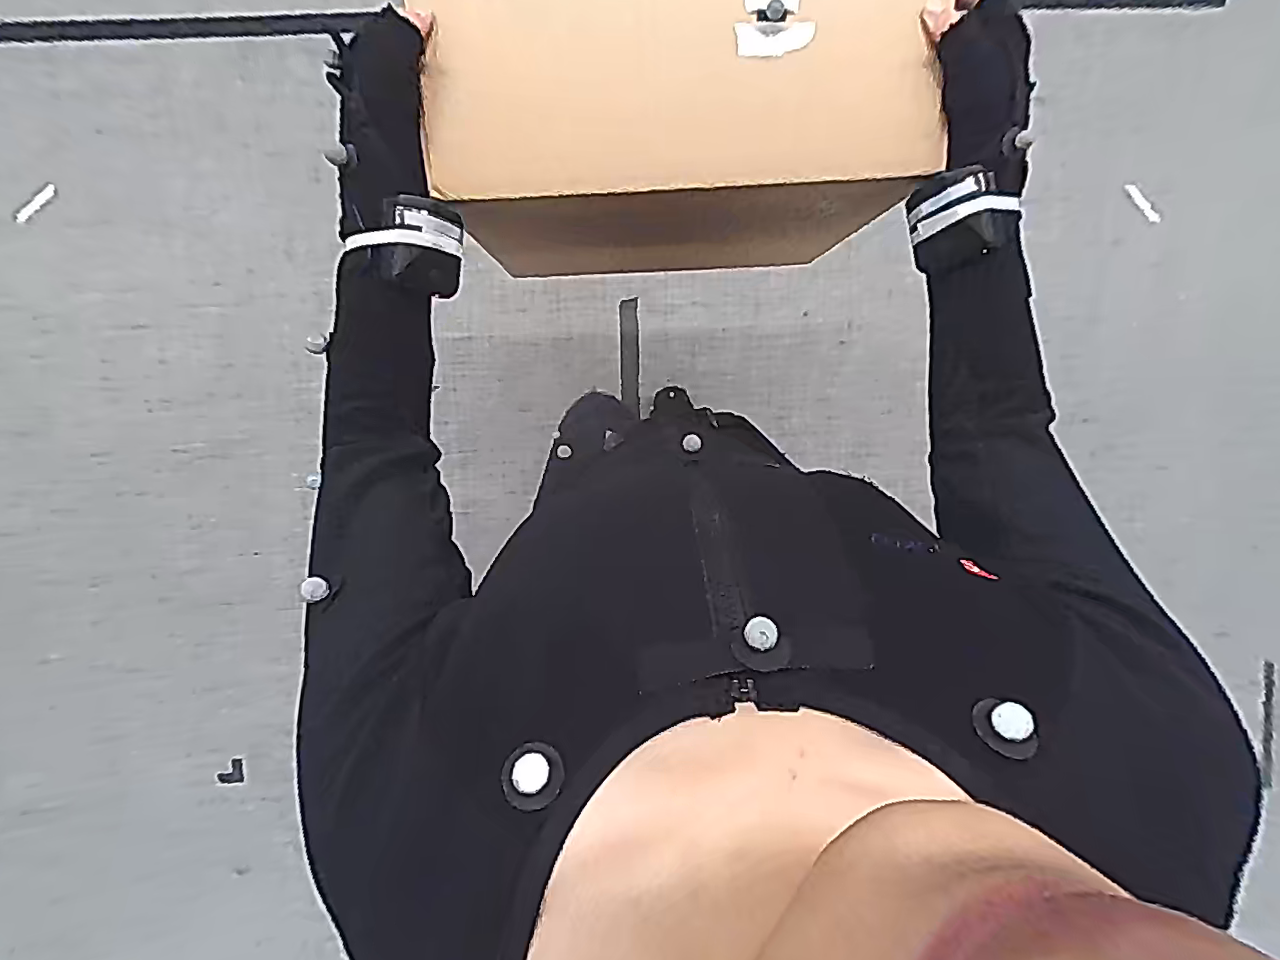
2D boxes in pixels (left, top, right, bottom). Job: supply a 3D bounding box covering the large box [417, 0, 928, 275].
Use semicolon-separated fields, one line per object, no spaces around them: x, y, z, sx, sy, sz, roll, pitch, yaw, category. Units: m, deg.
0.018;-0.417;0.560;0.408;0.320;0.320;-4;101;-2;large box
